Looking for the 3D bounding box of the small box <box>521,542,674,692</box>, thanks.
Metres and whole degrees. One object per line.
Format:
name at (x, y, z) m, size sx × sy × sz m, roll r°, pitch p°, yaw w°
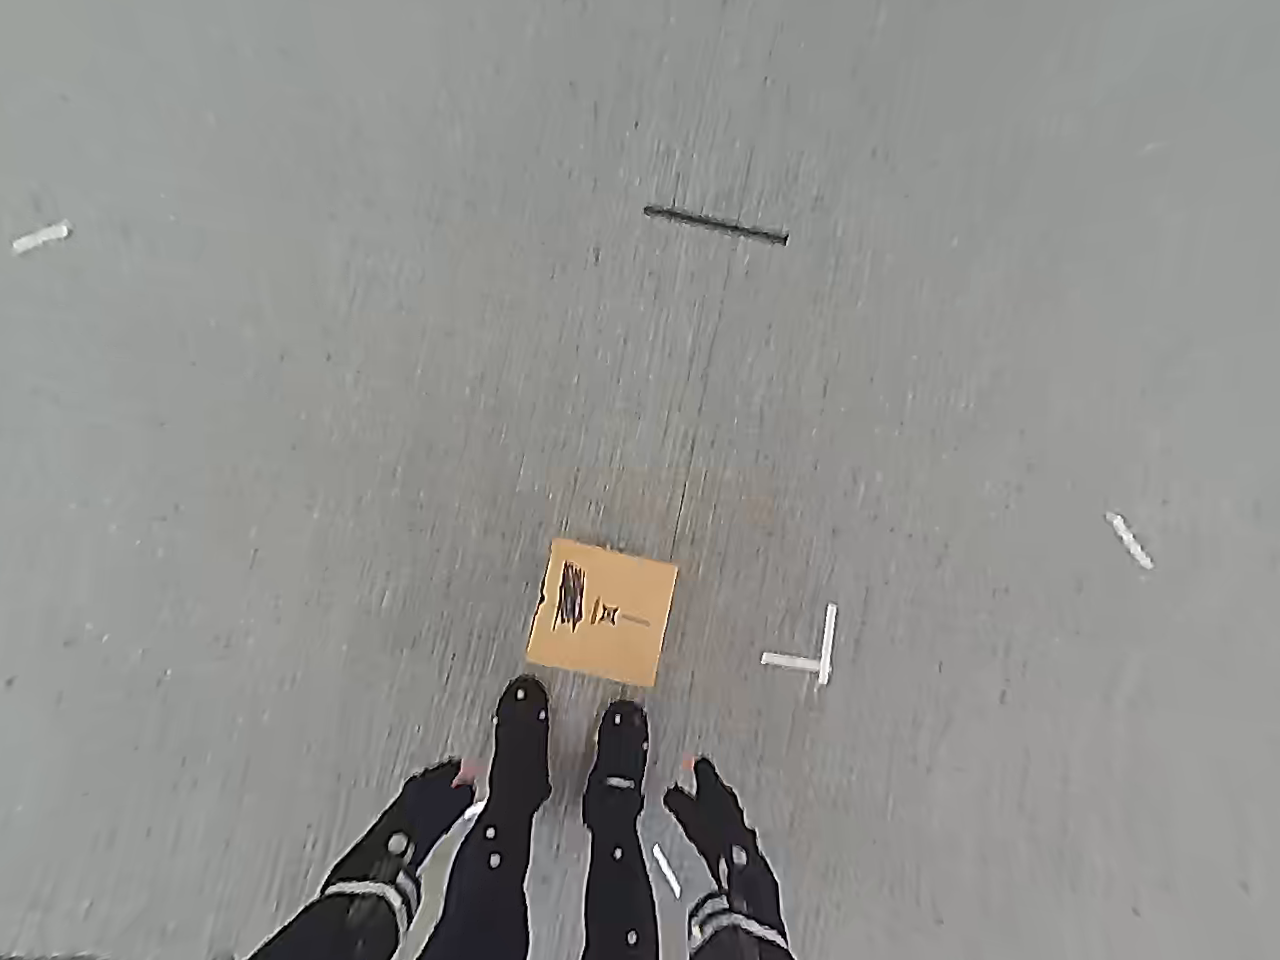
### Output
small box at (-0.061, 0.195, 0.801) m, size 0.179 × 0.176 × 0.168 m, roll 14°, pitch 81°, yaw -3°
